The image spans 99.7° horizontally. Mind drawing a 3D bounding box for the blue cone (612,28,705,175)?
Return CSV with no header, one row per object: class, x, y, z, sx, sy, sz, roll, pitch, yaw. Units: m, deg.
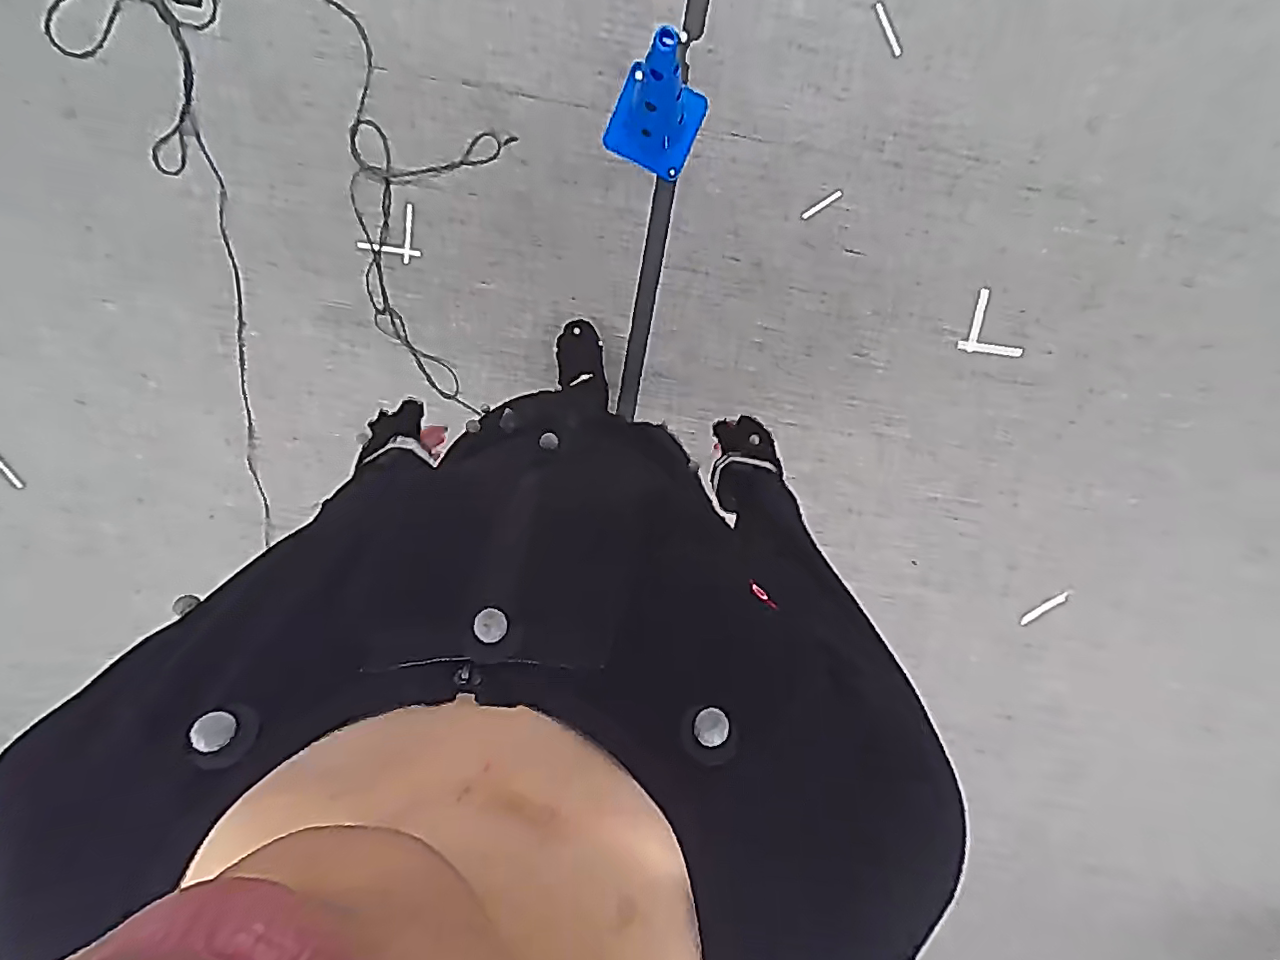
blue cone,0.048,-0.811,1.119,0.192,0.380,0.193,25,101,-8
